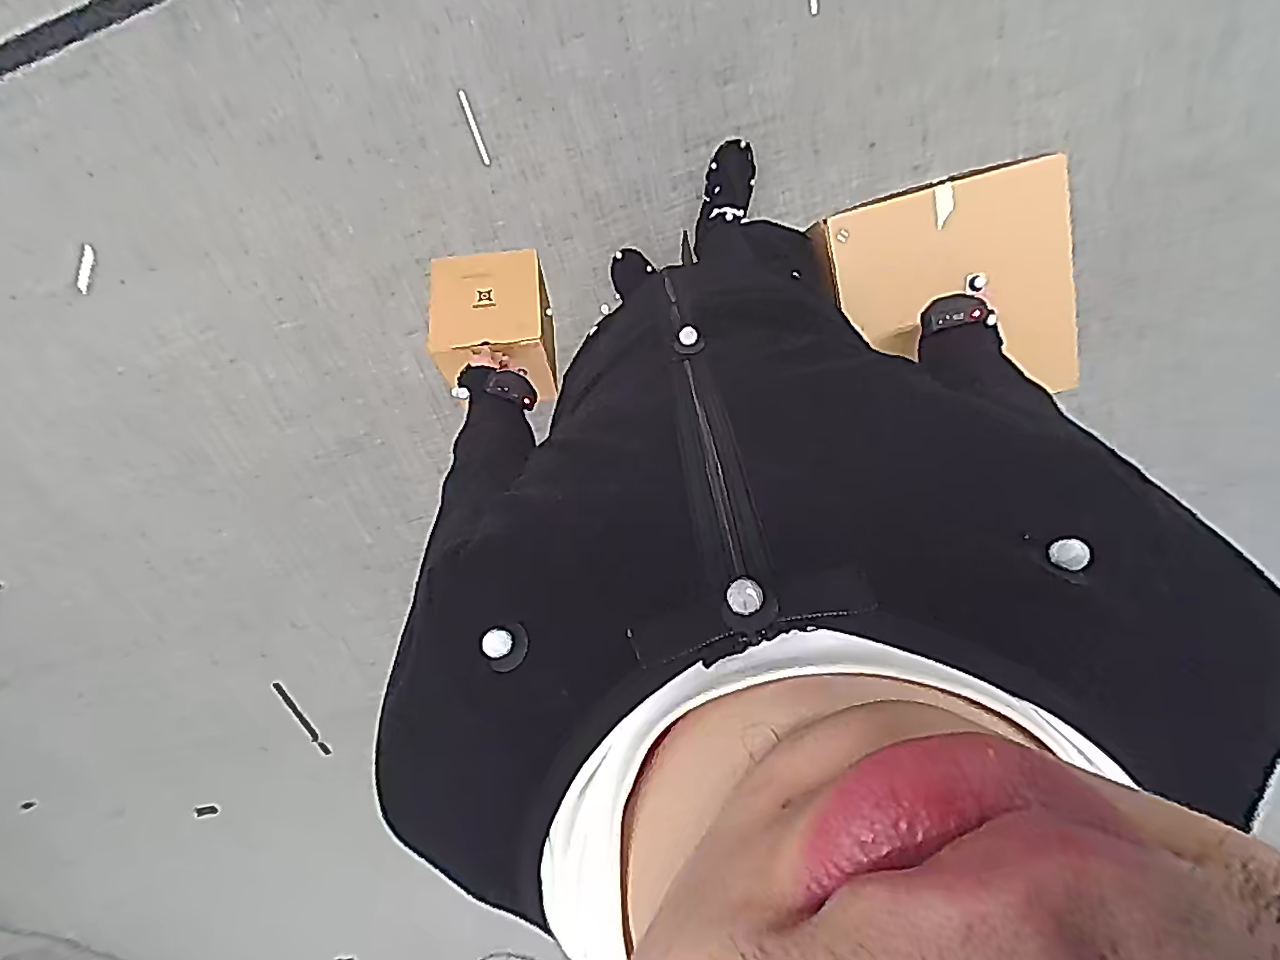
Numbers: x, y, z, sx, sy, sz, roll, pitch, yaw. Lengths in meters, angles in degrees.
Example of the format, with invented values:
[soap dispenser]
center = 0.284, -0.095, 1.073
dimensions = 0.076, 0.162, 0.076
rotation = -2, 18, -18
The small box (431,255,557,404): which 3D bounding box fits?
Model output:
[small box]
center = -0.232, -0.238, 0.892
dimensions = 0.168, 0.179, 0.176
rotation = -6, 157, -3
